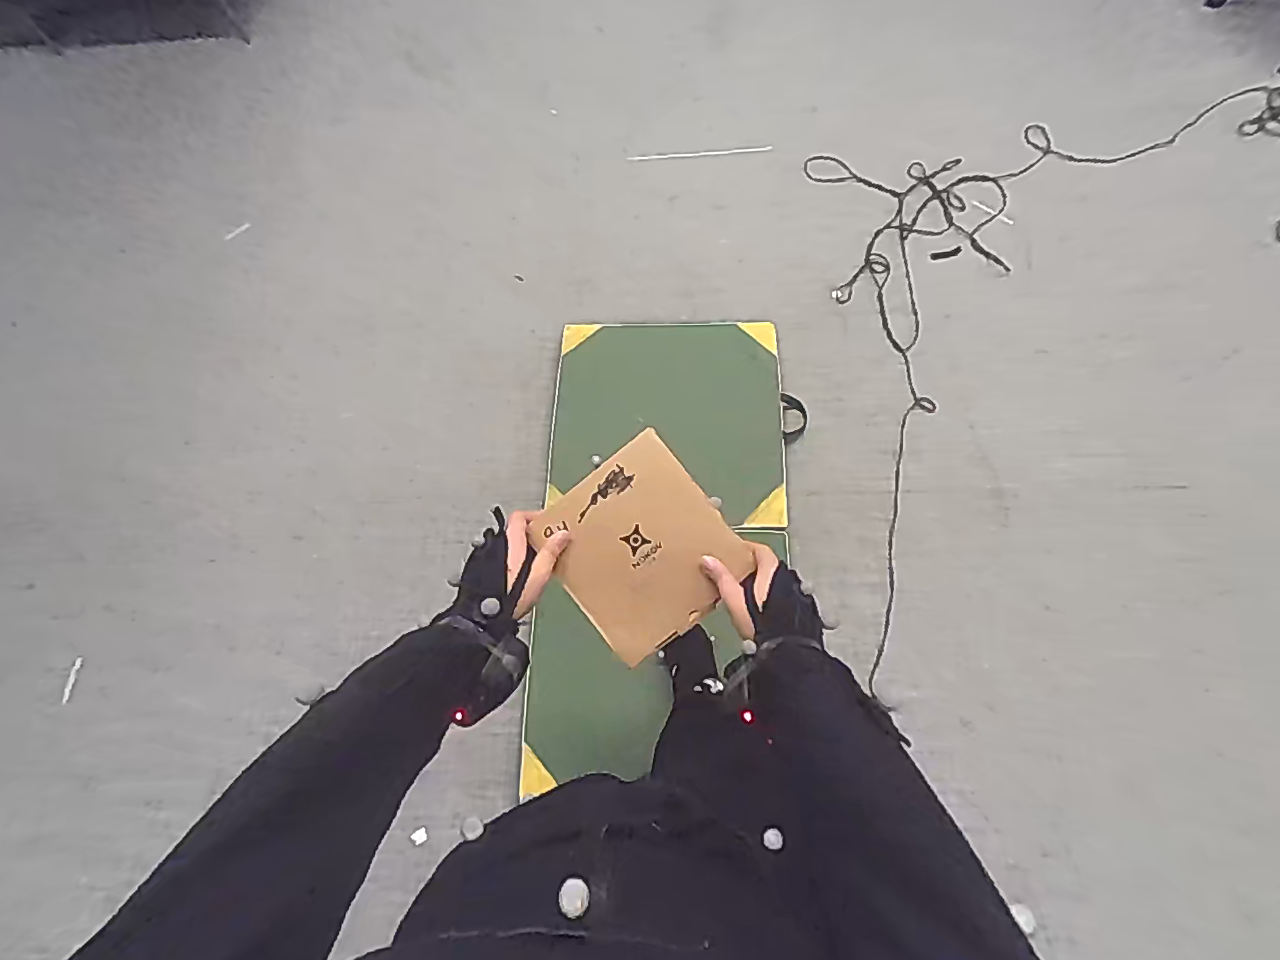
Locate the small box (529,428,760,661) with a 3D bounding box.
[{"bbox_3d":[0.008,0.065,0.612,0.168,0.176,0.179,-39,86,0],"label":"small box"}]
